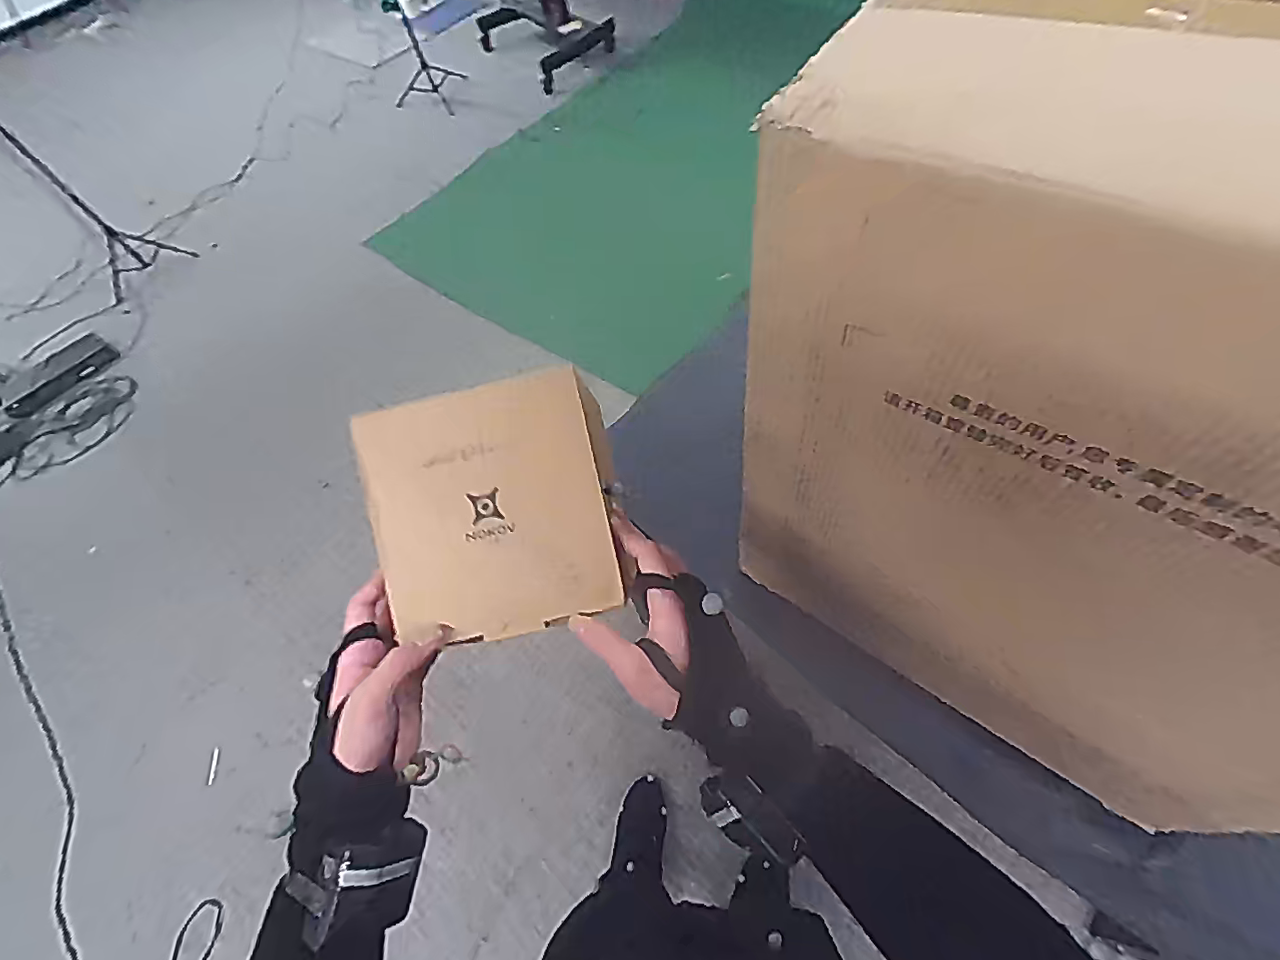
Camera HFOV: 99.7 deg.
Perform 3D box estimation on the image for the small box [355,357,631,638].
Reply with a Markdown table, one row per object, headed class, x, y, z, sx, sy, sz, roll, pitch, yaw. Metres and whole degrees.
| class | x | y | z | sx | sy | sz | roll | pitch | yaw |
| --- | --- | --- | --- | --- | --- | --- | --- | --- | --- |
| small box | -0.105 | 0.014 | 0.464 | 0.168 | 0.176 | 0.179 | -13 | 88 | 1 |
